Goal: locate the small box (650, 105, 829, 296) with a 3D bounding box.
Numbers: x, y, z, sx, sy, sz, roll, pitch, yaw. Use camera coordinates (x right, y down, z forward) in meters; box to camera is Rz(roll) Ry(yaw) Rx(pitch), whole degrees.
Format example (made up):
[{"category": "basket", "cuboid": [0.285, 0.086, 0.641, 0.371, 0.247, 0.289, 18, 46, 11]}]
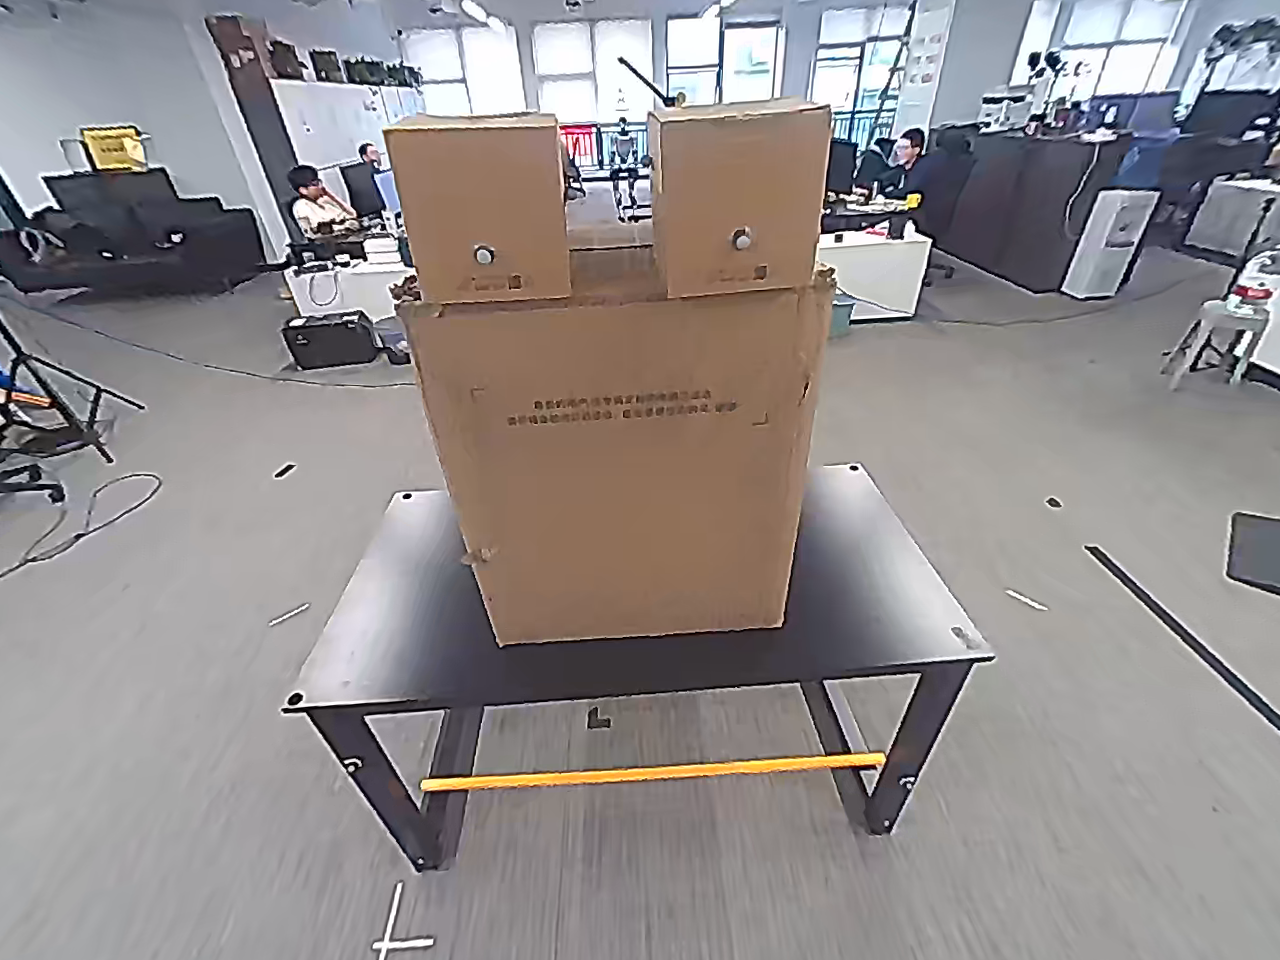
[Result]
[{"category": "small box", "cuboid": [0.100, -0.325, 0.626, 0.168, 0.176, 0.179, -5, 37, 0]}]
